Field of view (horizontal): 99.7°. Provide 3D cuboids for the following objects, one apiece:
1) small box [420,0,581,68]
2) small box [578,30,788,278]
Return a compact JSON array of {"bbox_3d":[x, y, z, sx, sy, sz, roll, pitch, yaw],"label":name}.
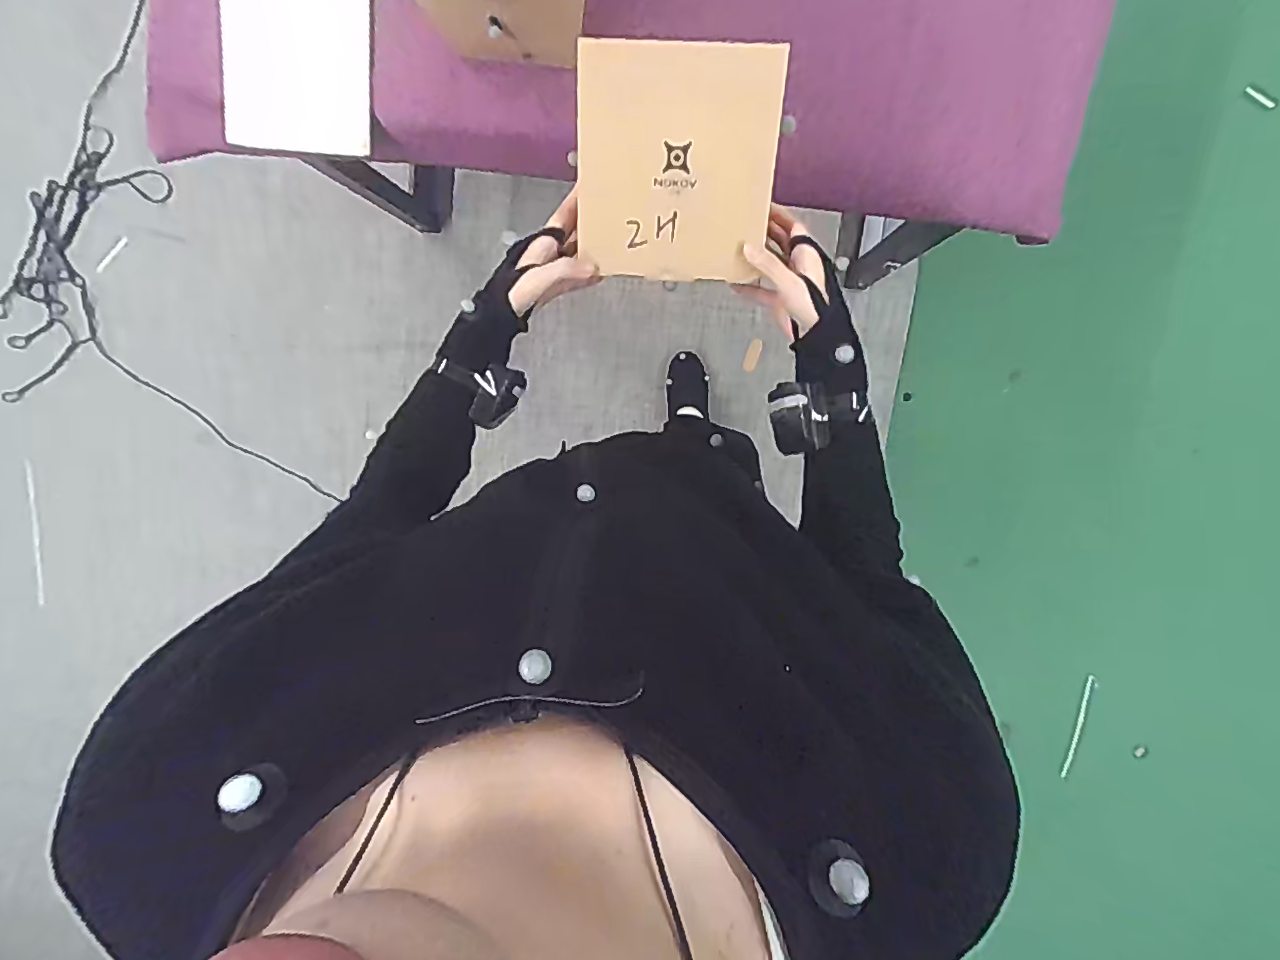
[{"bbox_3d":[-0.157,-0.611,0.611,0.168,0.176,0.179,9,100,3],"label":"small box"},{"bbox_3d":[0.035,-0.297,0.529,0.168,0.176,0.179,5,112,3],"label":"small box"}]
